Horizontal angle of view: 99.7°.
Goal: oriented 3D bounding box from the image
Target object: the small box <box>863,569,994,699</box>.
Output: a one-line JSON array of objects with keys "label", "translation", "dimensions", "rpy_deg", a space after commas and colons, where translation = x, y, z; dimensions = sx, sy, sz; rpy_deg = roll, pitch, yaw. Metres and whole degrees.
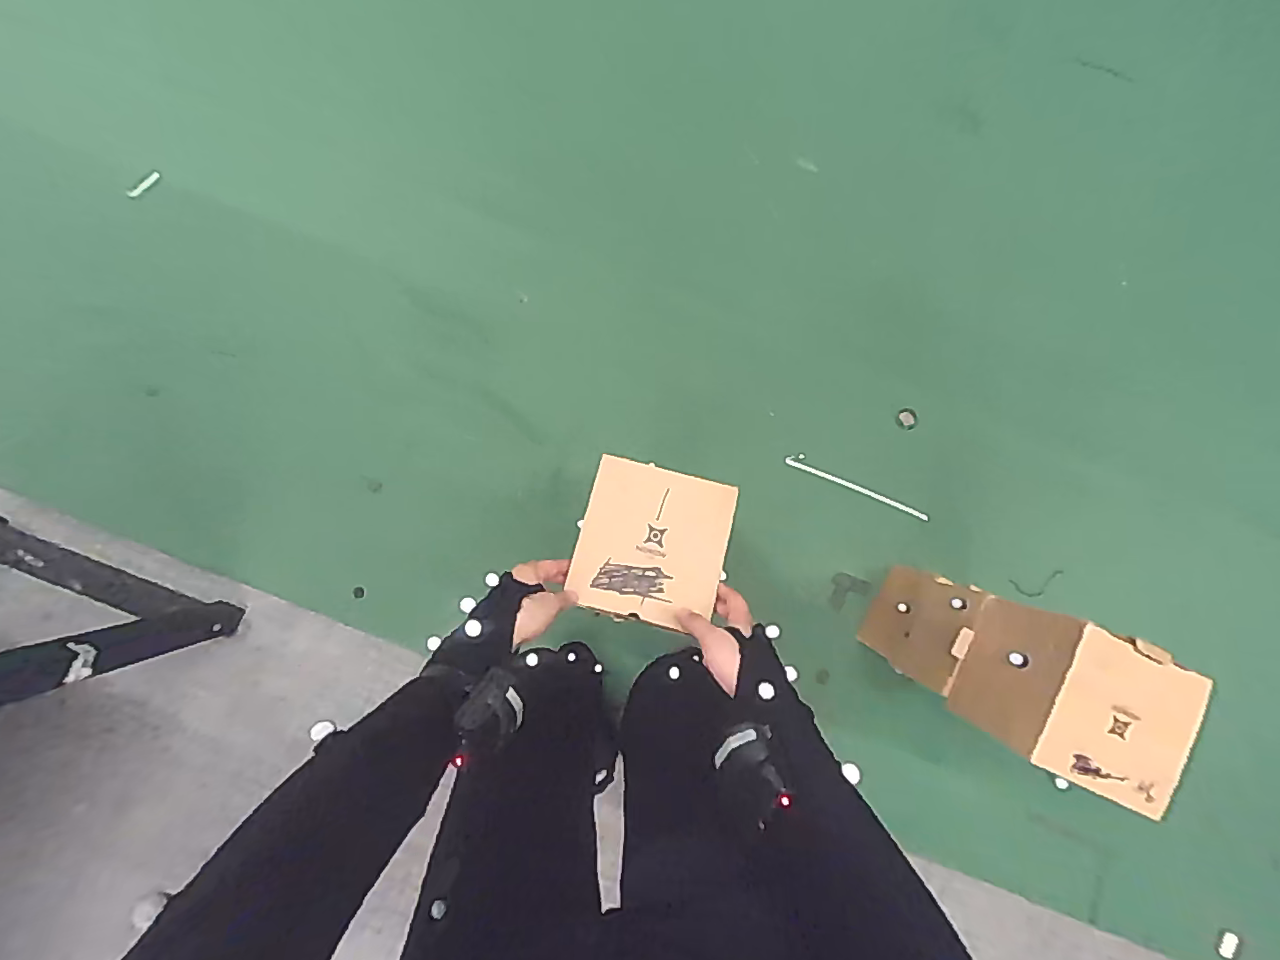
[{"label": "small box", "translation": [0.554, 0.288, 1.027], "dimensions": [0.168, 0.176, 0.179], "rpy_deg": [29, 87, 0]}]

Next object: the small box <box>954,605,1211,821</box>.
[{"label": "small box", "translation": [0.550, 0.281, 0.698], "dimensions": [0.168, 0.176, 0.179], "rpy_deg": [26, 86, -1]}]

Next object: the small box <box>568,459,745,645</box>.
[{"label": "small box", "translation": [0.019, 0.094, 0.680], "dimensions": [0.168, 0.176, 0.179], "rpy_deg": [15, 77, 1]}]
